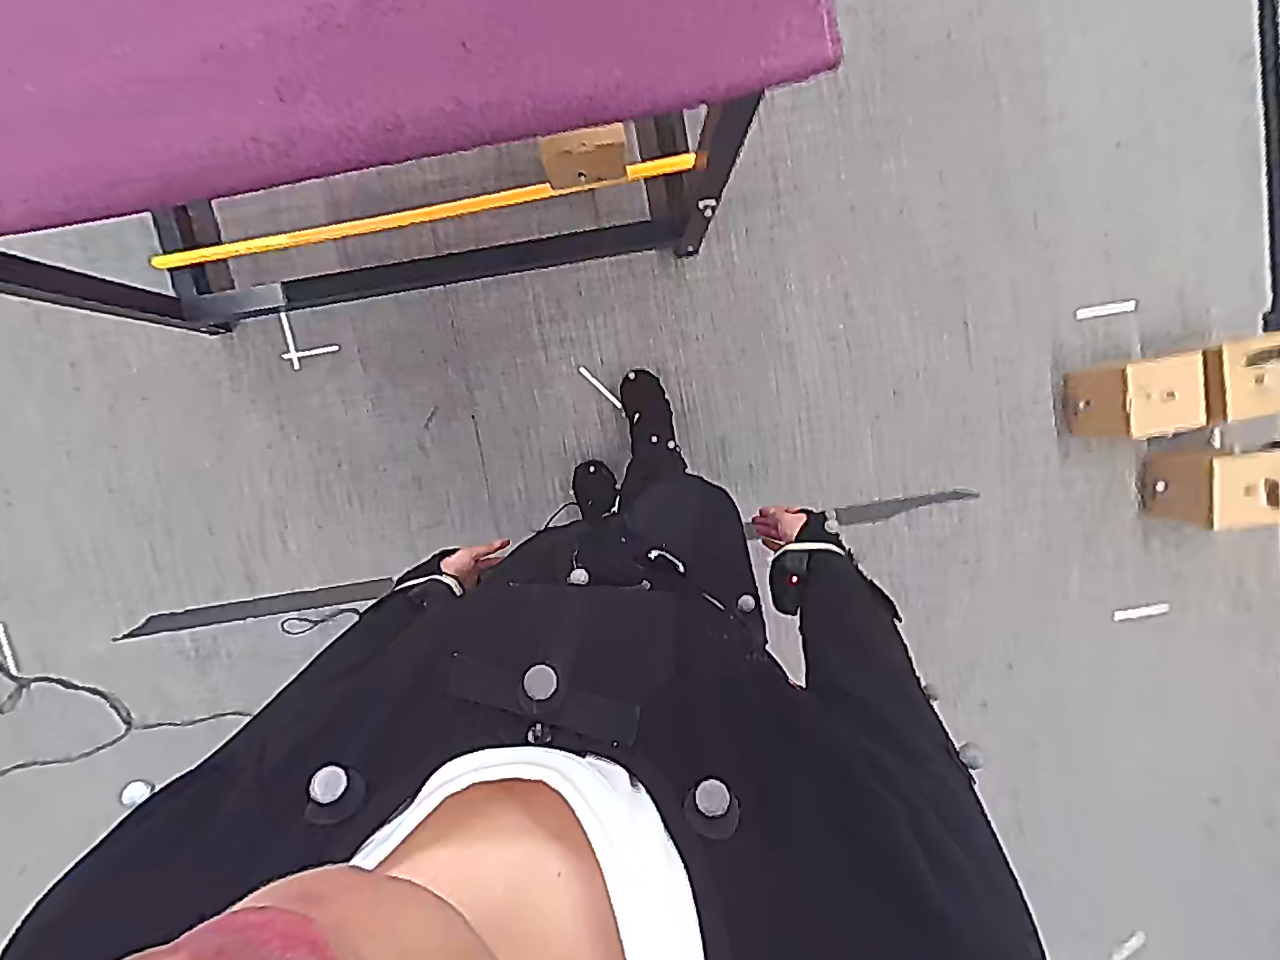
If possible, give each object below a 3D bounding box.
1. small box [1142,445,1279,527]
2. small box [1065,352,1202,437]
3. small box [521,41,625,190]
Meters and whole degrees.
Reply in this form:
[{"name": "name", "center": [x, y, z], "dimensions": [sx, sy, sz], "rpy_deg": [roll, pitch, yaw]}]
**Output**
[{"name": "small box", "center": [1.388, 0.008, 1.317], "dimensions": [0.179, 0.176, 0.168], "rpy_deg": [-7, 97, 0]}, {"name": "small box", "center": [1.163, -0.201, 1.283], "dimensions": [0.179, 0.176, 0.168], "rpy_deg": [-11, 97, 0]}, {"name": "small box", "center": [-0.126, -0.709, 1.069], "dimensions": [0.168, 0.176, 0.179], "rpy_deg": [-10, 98, 1]}]
